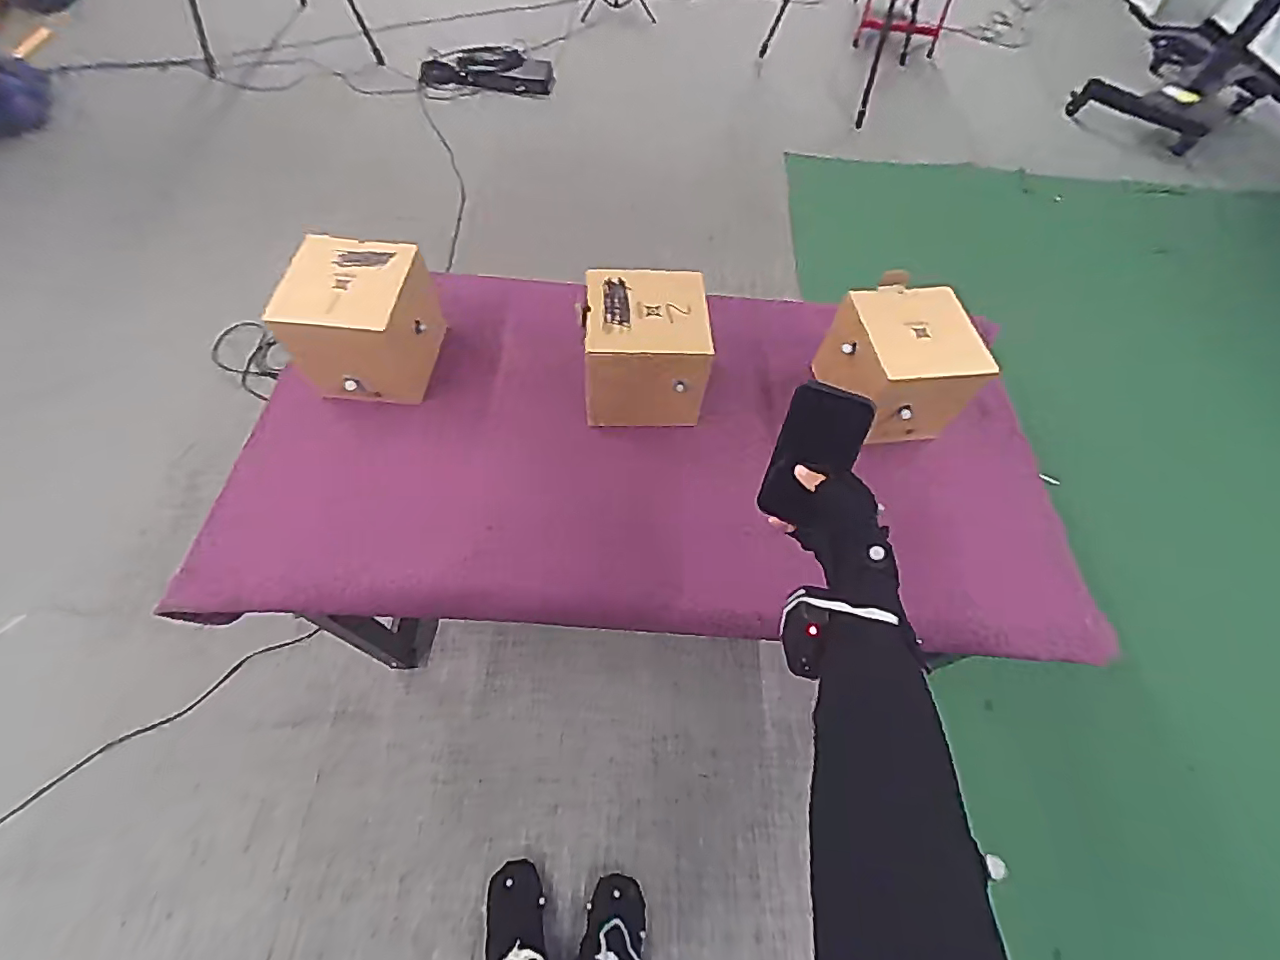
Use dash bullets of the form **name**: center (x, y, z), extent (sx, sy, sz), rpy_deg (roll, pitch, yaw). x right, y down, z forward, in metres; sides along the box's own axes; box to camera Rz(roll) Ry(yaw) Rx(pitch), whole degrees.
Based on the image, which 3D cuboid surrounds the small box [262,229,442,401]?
- **small box**: center (-0.416, -0.246, 0.821), extent (0.168, 0.176, 0.179), rpy_deg (6, 62, -1)

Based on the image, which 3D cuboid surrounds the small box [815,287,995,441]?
- **small box**: center (0.394, -0.171, 0.841), extent (0.168, 0.176, 0.179), rpy_deg (-5, 60, -6)
